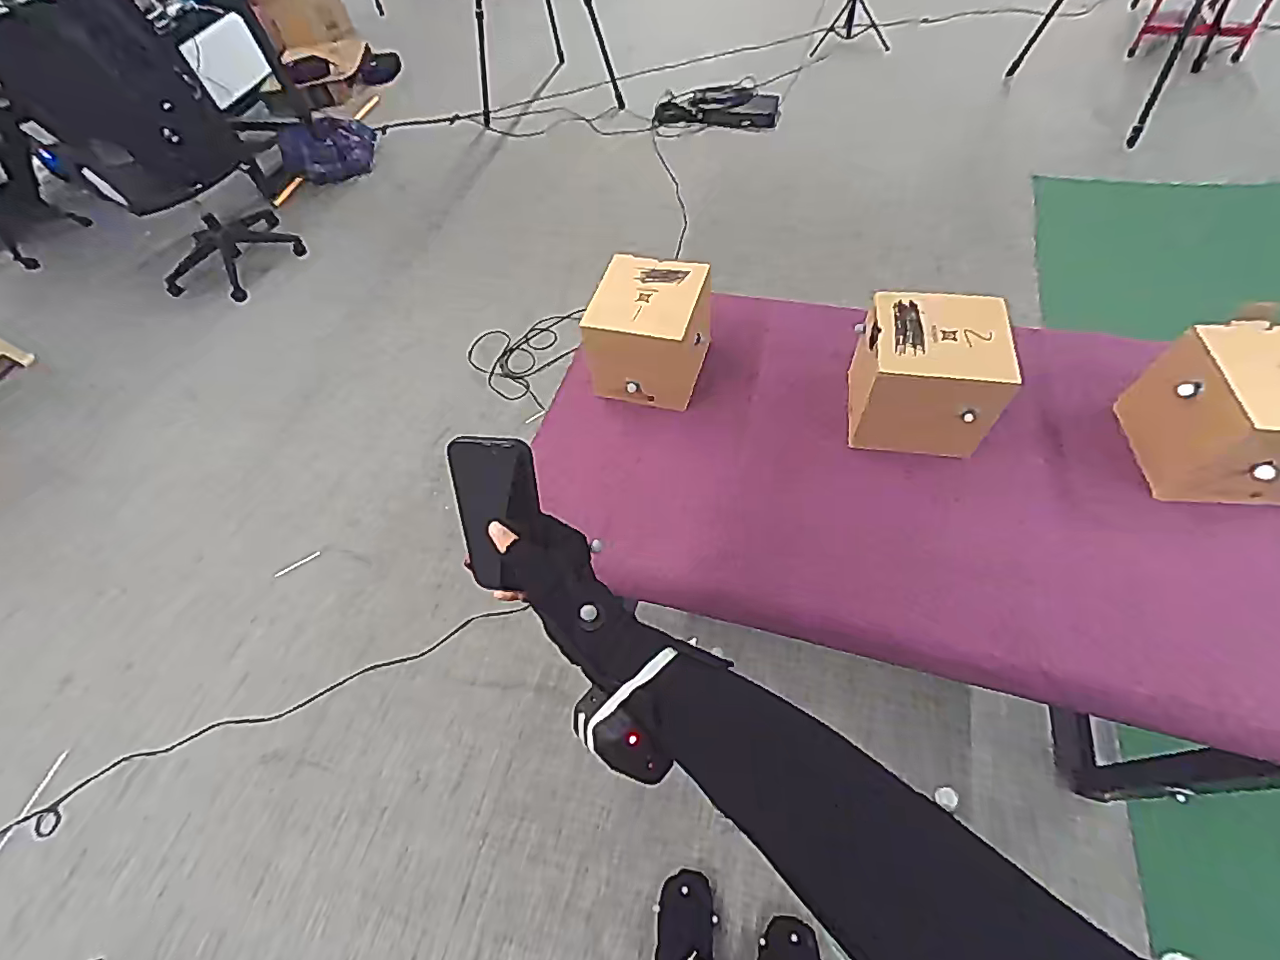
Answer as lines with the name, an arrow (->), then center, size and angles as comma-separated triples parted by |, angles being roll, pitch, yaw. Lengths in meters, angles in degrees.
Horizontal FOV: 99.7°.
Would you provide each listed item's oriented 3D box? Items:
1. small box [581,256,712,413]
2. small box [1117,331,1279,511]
small box -> 0.019, -0.241, 0.907 | 0.168, 0.176, 0.179 | 13, 61, 14
small box -> 0.791, -0.073, 0.710 | 0.168, 0.176, 0.179 | 2, 57, 9
